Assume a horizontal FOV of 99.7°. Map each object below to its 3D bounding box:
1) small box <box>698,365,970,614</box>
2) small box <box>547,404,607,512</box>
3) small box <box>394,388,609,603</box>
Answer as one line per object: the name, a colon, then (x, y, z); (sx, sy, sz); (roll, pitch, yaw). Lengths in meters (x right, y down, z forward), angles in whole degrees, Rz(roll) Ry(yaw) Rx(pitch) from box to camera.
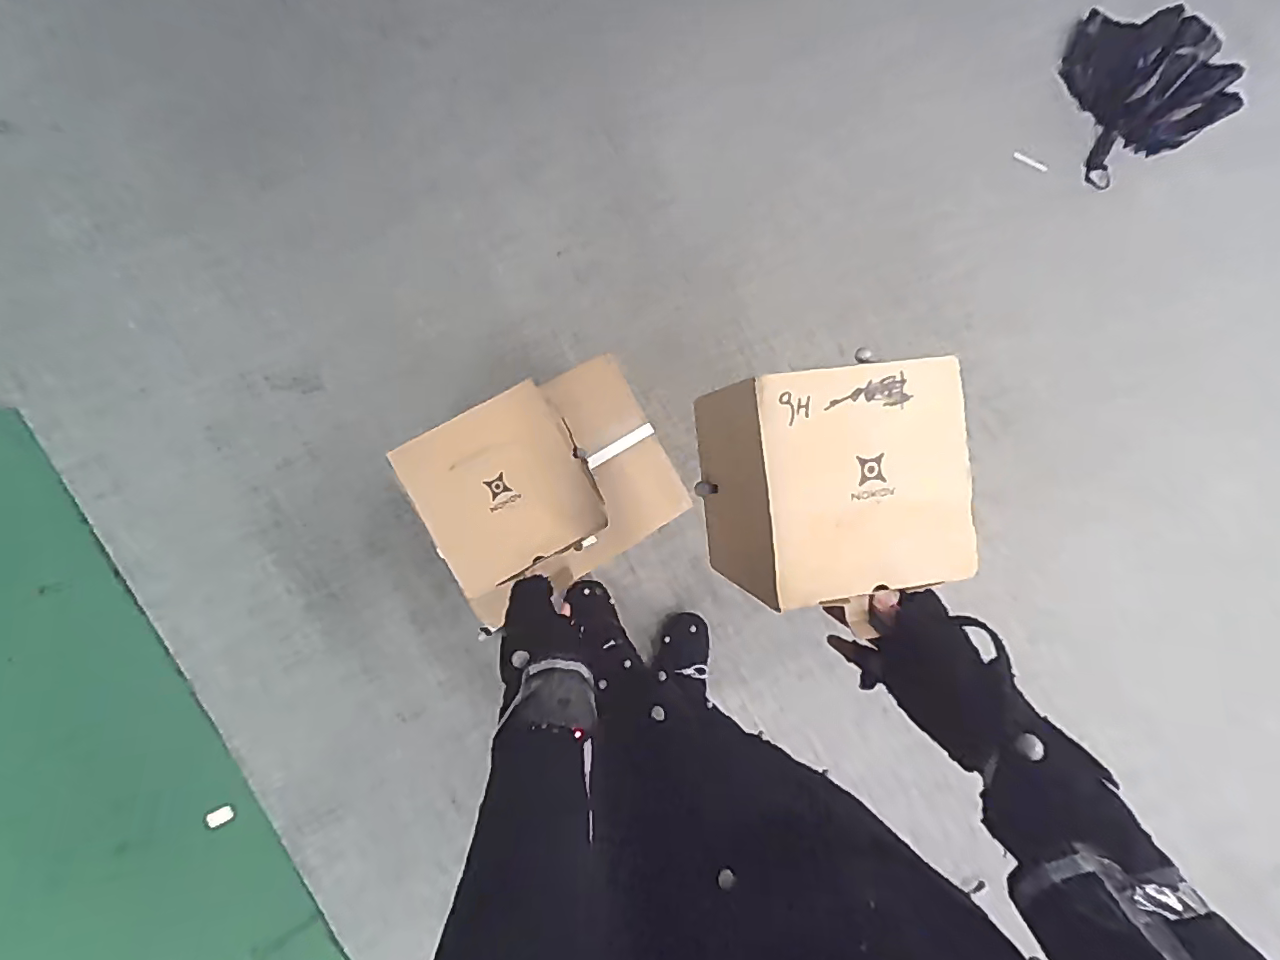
small box: (0.159, 0.002, 0.489); (0.168, 0.176, 0.179); (-8, 94, -10)
small box: (-0.166, 0.000, 0.805); (0.179, 0.176, 0.168); (-24, 94, -7)
small box: (-0.147, 0.016, 0.640); (0.168, 0.176, 0.179); (-29, 92, -5)
